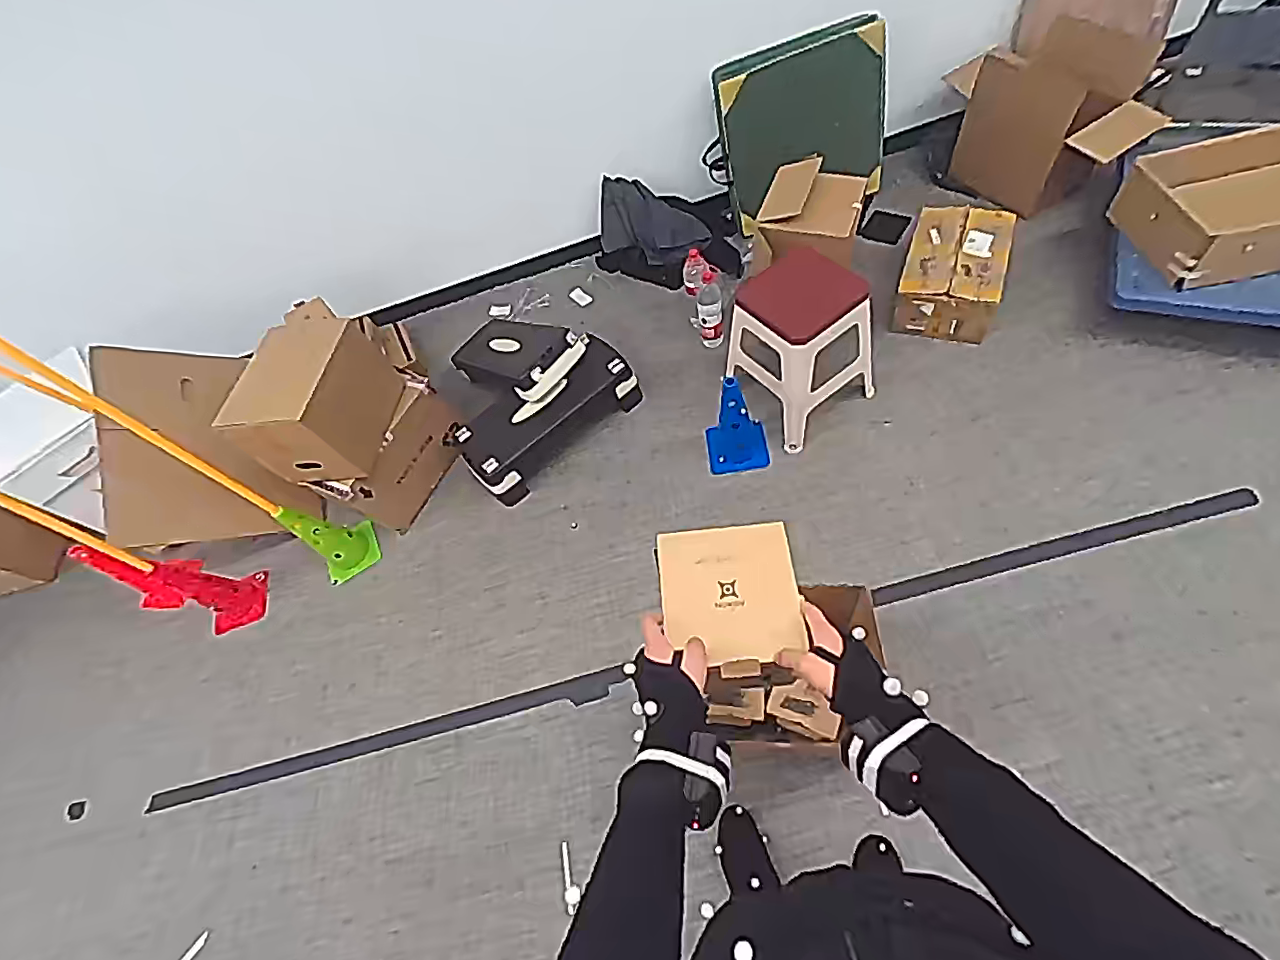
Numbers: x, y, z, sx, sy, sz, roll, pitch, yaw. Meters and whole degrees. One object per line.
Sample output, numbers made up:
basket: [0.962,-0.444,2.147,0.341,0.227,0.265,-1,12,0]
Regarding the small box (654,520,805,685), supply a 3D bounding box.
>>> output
small box: [0.112,0.171,0.723,0.168,0.176,0.179,-6,60,4]
